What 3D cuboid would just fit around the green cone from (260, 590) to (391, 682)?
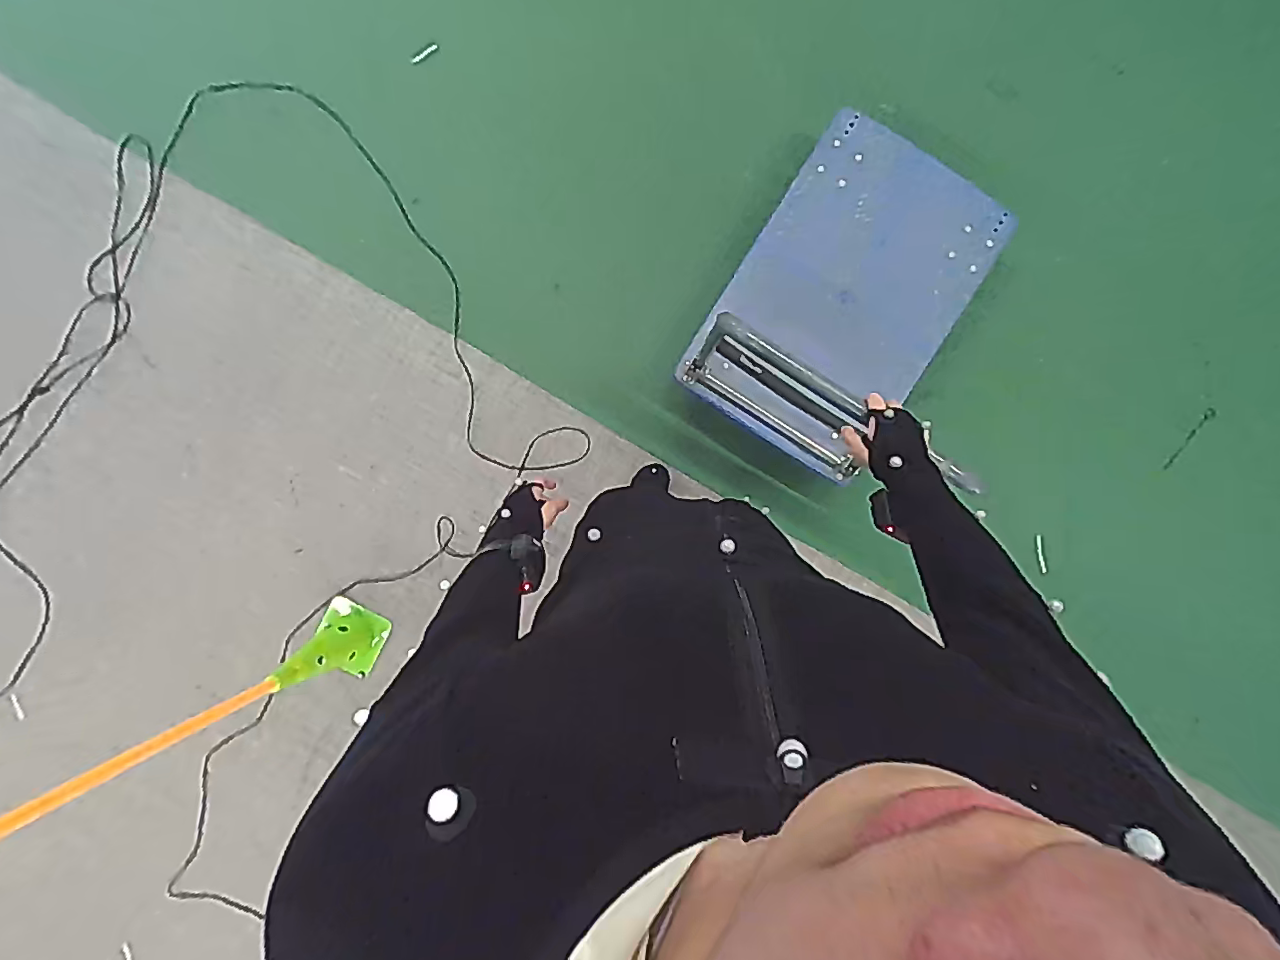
[{"bbox_3d":[-0.888,0.464,1.483,0.202,0.368,0.200,27,92,1],"label":"green cone"}]
